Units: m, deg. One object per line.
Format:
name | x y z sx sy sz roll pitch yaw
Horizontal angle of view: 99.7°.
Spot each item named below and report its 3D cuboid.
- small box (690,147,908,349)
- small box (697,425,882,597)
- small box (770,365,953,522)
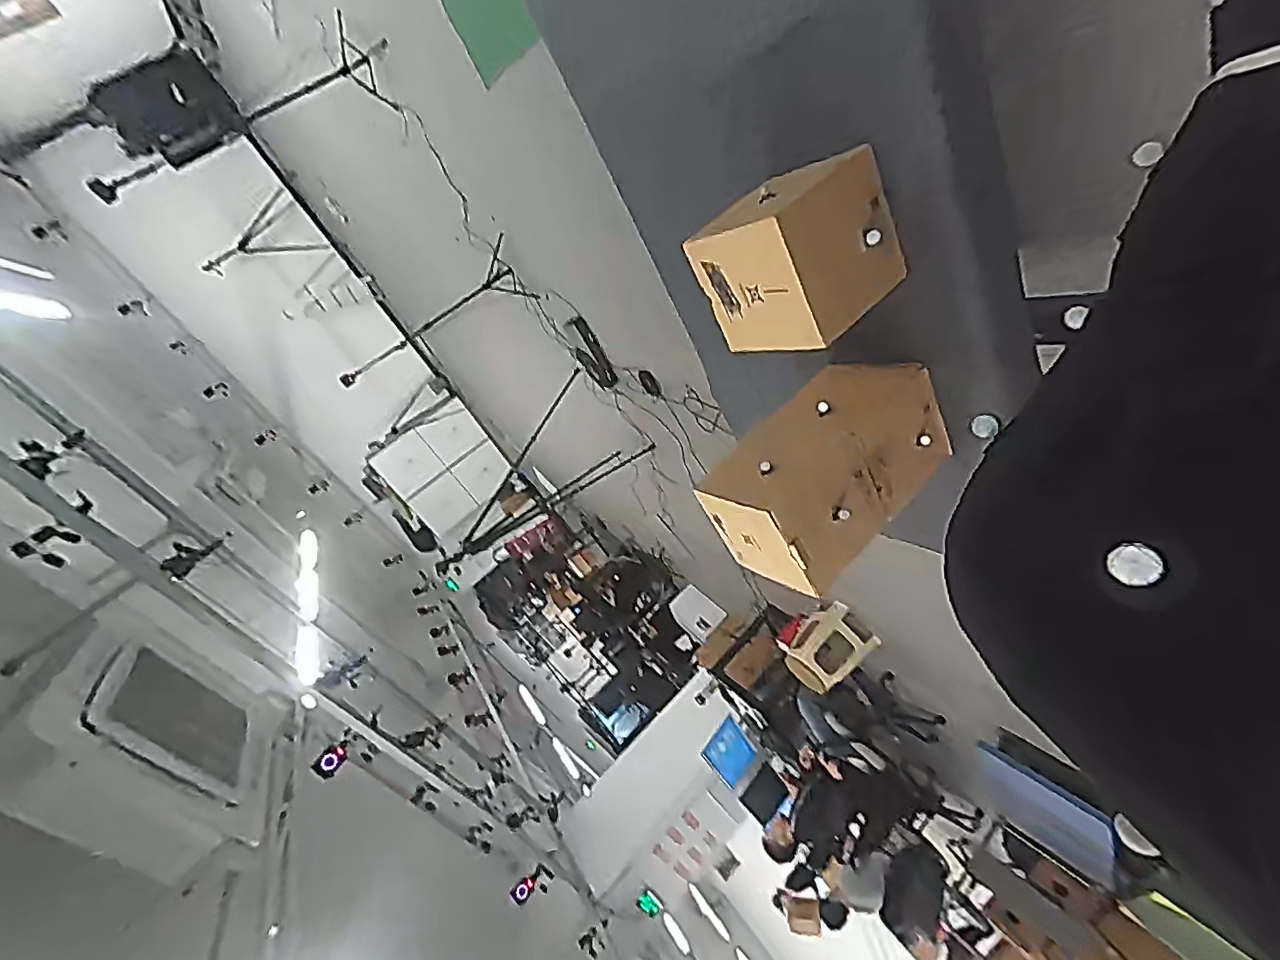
small box | 0.202 -0.286 0.693 0.179 0.176 0.168 22 149 58
small box | 0.223 0.034 0.788 0.168 0.176 0.179 57 161 -24
small box | 0.343 -0.066 0.839 0.179 0.176 0.168 19 146 59
